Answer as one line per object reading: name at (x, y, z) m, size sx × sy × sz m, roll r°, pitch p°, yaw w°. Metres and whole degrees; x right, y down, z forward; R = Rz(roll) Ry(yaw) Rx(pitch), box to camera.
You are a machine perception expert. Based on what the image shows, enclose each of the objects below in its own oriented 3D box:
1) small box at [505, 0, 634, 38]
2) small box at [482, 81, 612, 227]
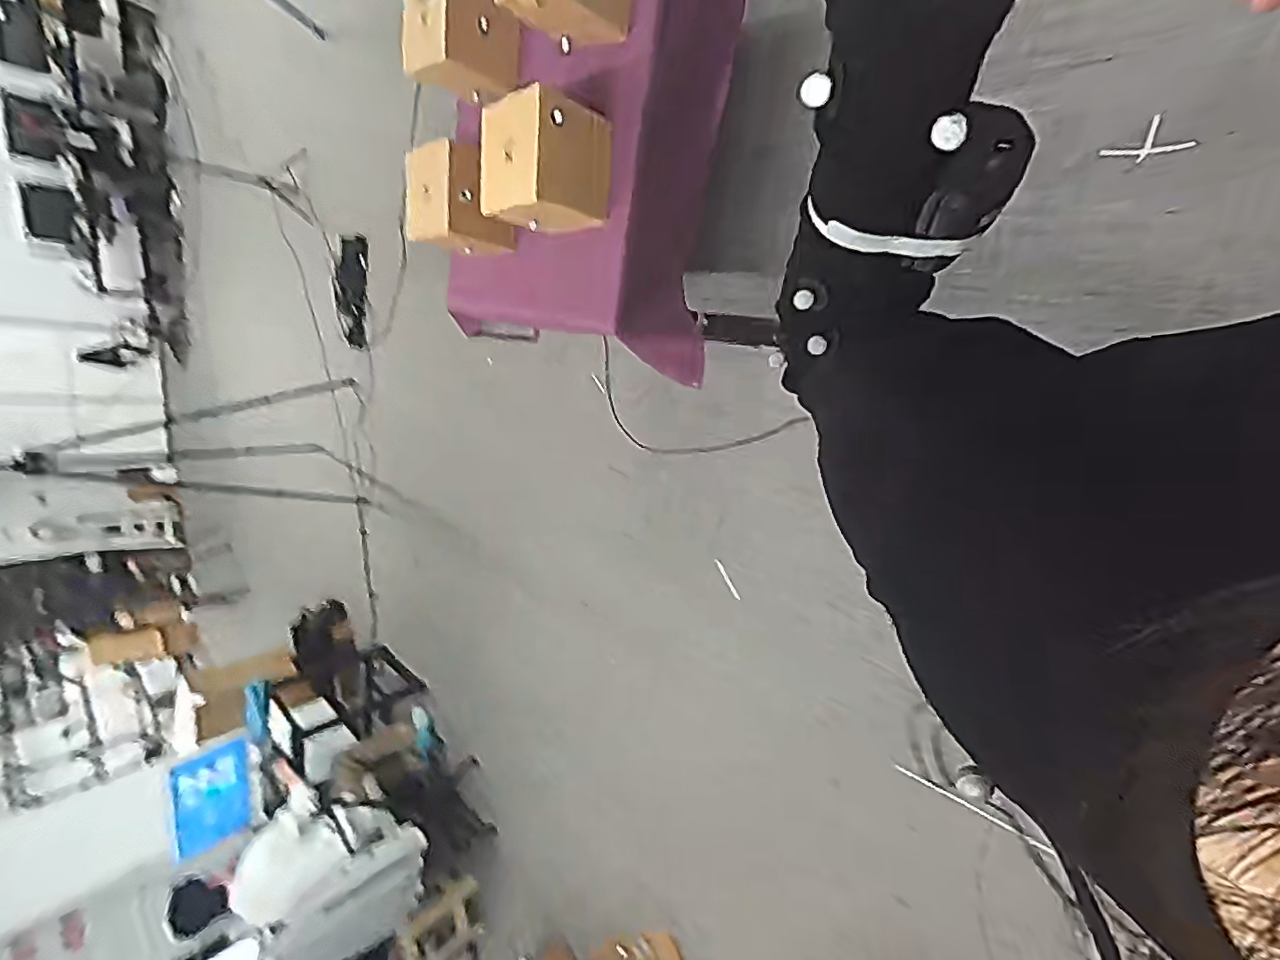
small box at (-0.110, -0.865, 0.888) m, size 0.168 × 0.176 × 0.179 m, roll 28°, pitch 112°, yaw 35°
small box at (-0.167, -0.571, 0.980) m, size 0.168 × 0.176 × 0.179 m, roll 14°, pitch 104°, yaw 39°
